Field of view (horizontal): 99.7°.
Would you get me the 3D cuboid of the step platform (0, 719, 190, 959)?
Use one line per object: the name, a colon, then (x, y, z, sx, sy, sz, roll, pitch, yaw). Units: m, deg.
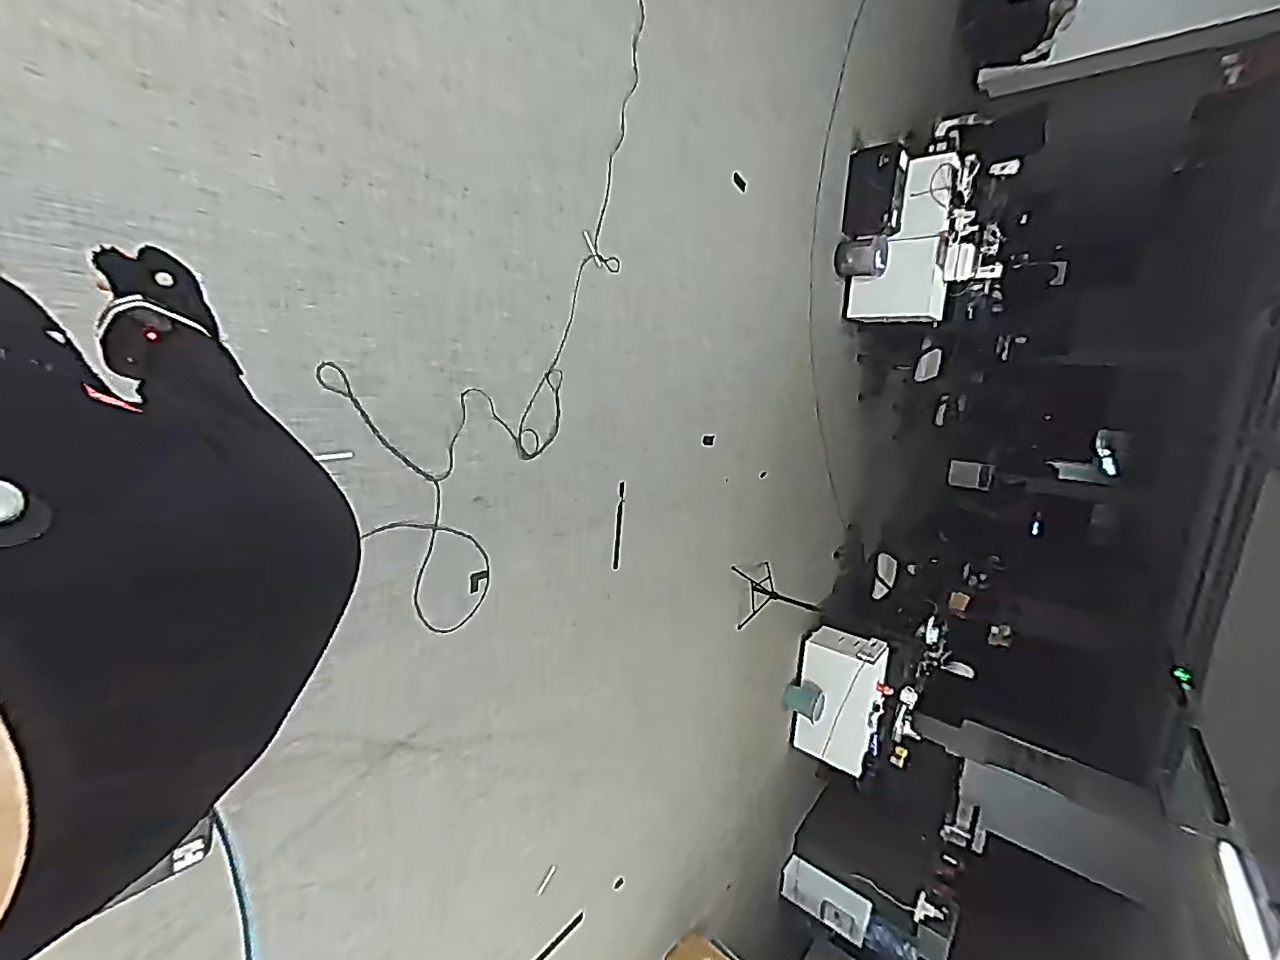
step platform: (-1.234, 0.723, 0.950, 0.684, 0.204, 0.286, -12, 109, -49)
